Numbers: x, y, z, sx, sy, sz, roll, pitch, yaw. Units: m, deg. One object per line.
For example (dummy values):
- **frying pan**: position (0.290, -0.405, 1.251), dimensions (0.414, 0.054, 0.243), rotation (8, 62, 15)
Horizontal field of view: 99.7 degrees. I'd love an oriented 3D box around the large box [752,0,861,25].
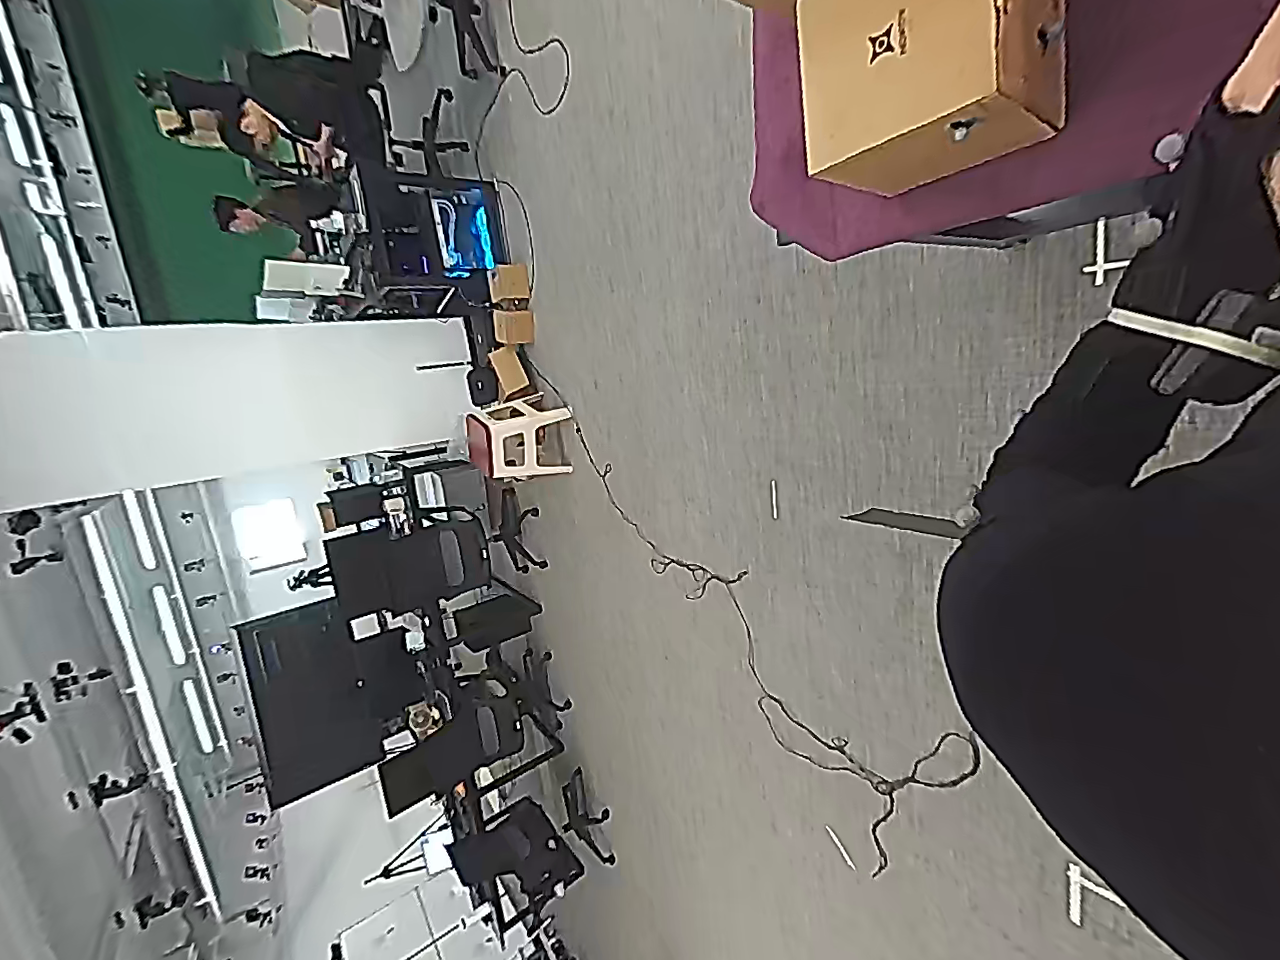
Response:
- **large box**: position (0.174, -0.722, 0.451), dimensions (0.320, 0.320, 0.408), rotation (8, 111, 53)
